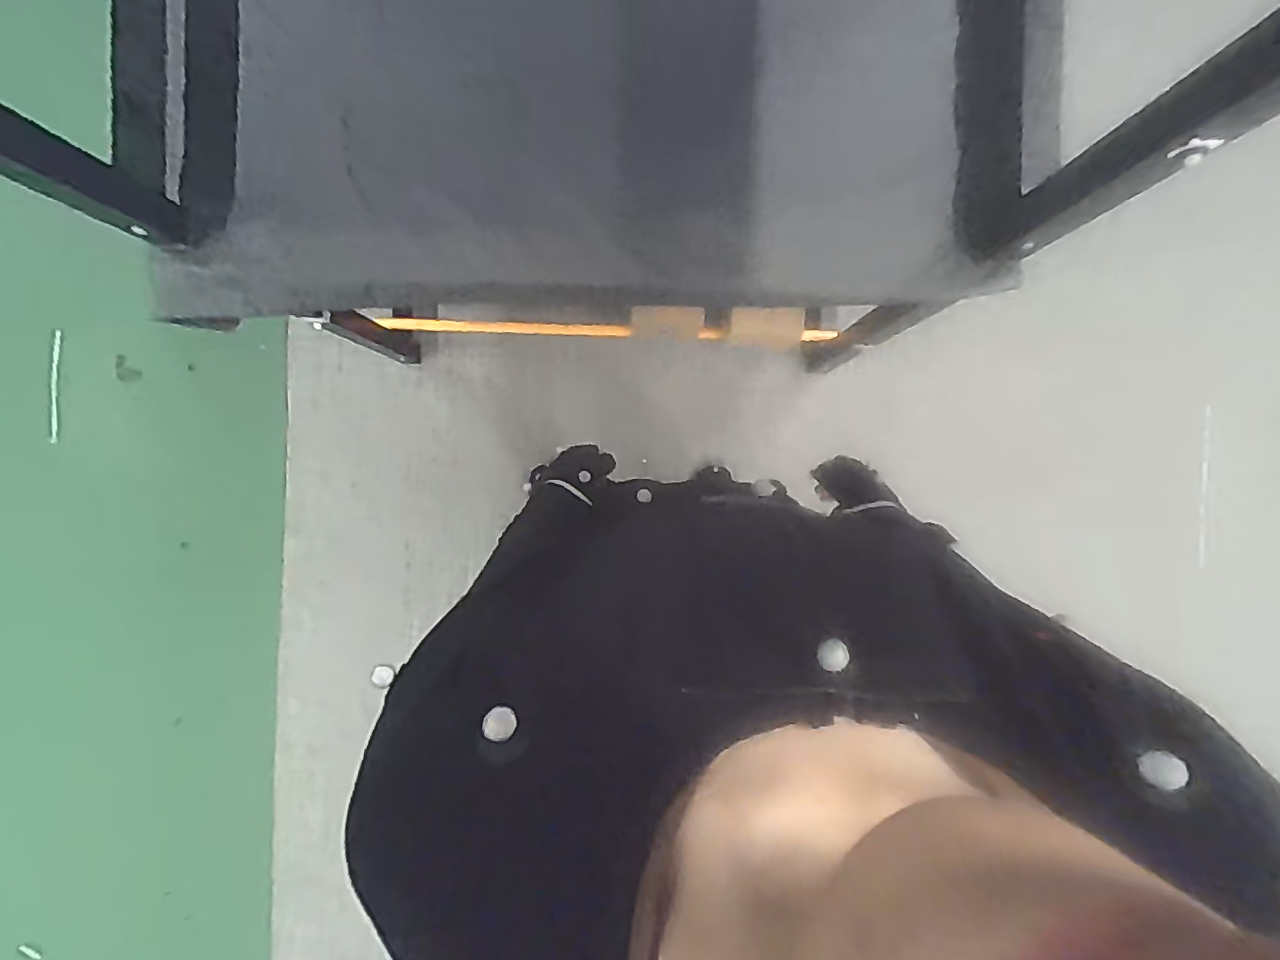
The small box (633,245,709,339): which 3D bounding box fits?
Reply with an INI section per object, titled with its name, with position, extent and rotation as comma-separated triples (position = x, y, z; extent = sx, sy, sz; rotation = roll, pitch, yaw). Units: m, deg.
[small box]
position = 0.072, -0.439, 1.285
extent = 0.168, 0.176, 0.179
rotation = 1, 92, 1
